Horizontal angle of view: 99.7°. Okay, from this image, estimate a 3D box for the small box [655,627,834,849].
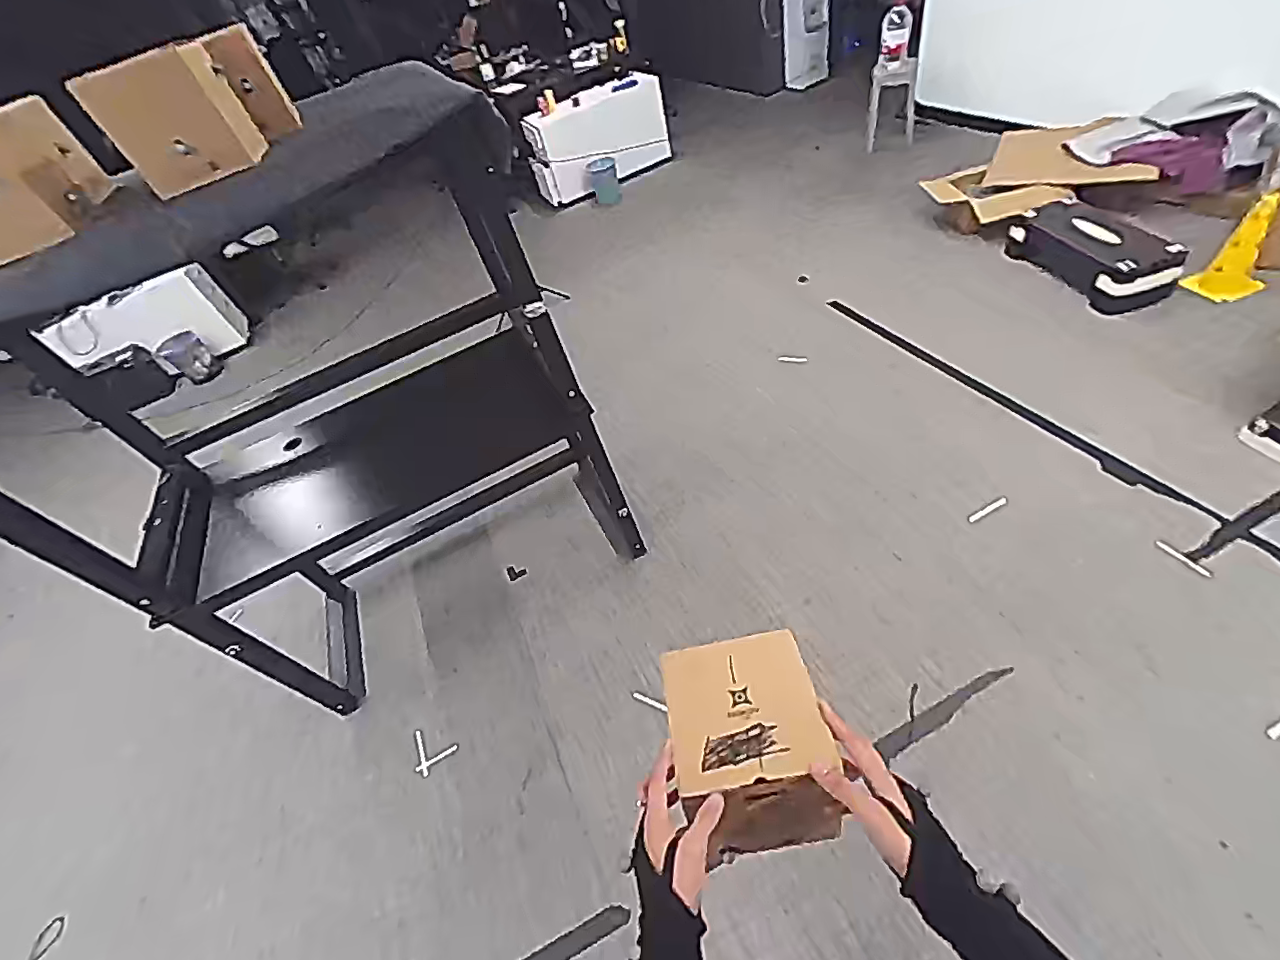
[{"bbox_3d":[0.121,0.311,0.646,0.168,0.176,0.179,-13,37,2],"label":"small box"}]

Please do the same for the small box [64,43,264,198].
[{"bbox_3d":[-0.773,-0.599,0.905,0.168,0.176,0.179,-26,46,-5],"label":"small box"}]

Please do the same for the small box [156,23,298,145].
[{"bbox_3d":[-0.804,-0.761,1.062,0.168,0.176,0.179,-28,48,-10],"label":"small box"}]

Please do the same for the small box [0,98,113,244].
[{"bbox_3d":[-1.157,-0.576,1.011,0.179,0.176,0.168,-27,48,-7],"label":"small box"}]
